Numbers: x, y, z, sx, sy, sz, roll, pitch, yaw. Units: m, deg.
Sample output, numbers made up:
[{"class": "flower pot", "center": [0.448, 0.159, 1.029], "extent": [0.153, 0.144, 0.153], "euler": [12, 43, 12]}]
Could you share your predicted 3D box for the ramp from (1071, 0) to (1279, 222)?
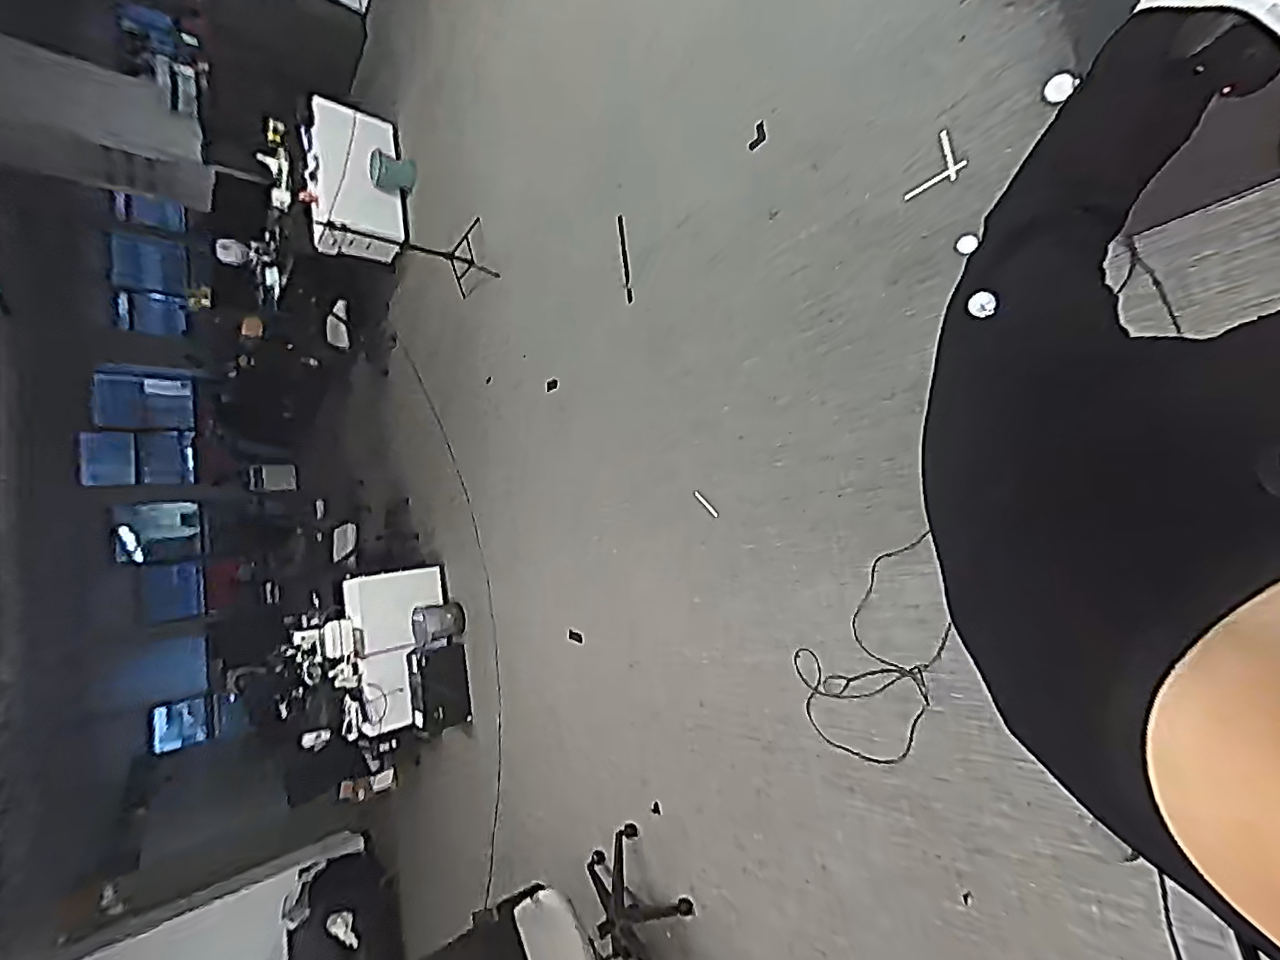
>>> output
[{"class": "ramp", "center": [1.048, -1.049, 0.938], "extent": [0.509, 0.206, 0.991], "euler": [-18, 78, 47]}]
